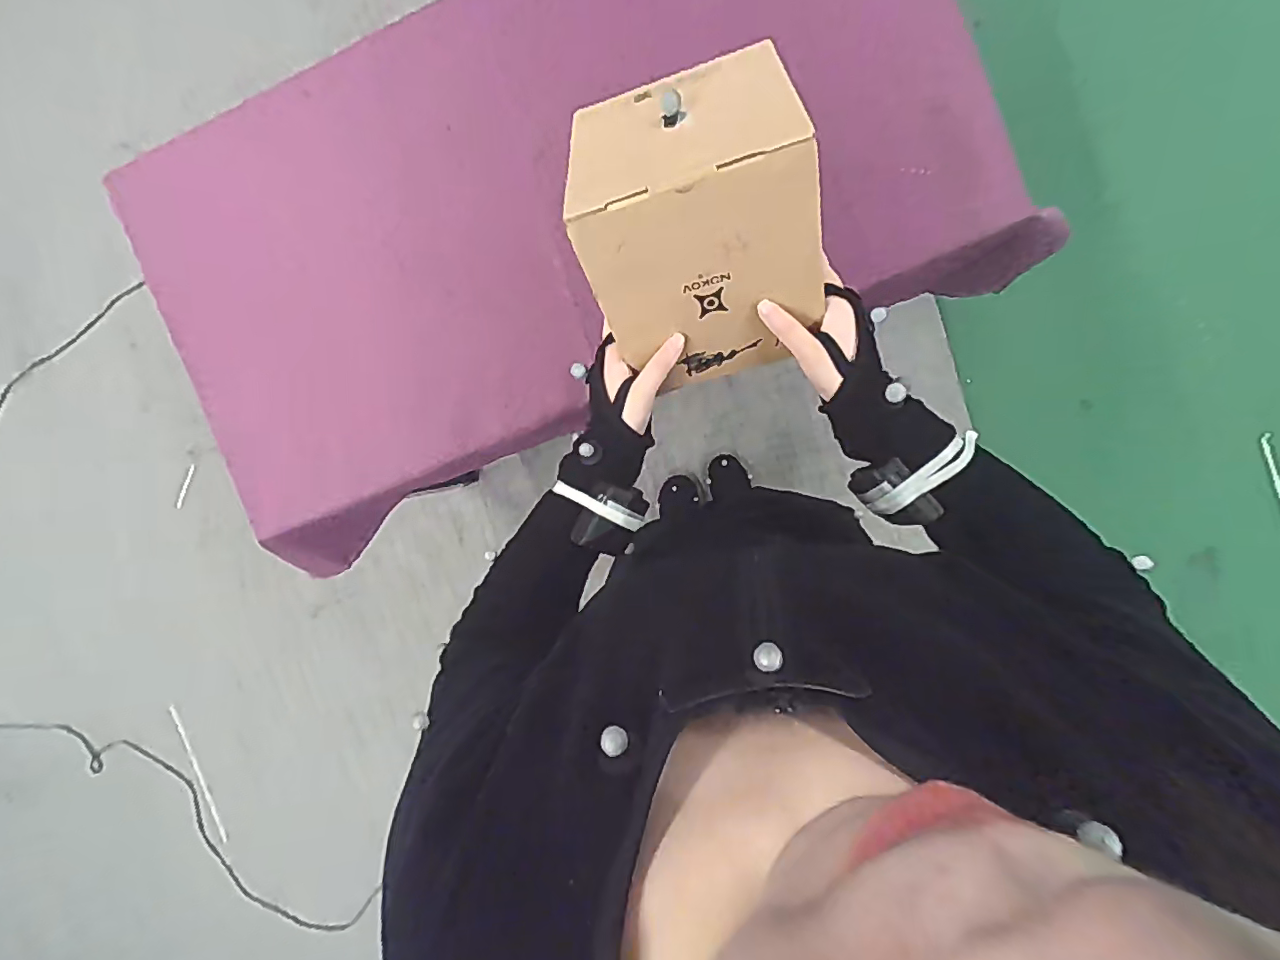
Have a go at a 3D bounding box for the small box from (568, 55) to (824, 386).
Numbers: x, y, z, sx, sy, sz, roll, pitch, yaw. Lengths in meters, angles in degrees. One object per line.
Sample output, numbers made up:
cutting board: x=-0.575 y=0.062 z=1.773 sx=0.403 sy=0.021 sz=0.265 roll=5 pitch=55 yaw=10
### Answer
small box: x=0.050 y=-0.211 z=0.448 sx=0.168 sy=0.179 sz=0.176 roll=-10 pitch=54 yaw=14
